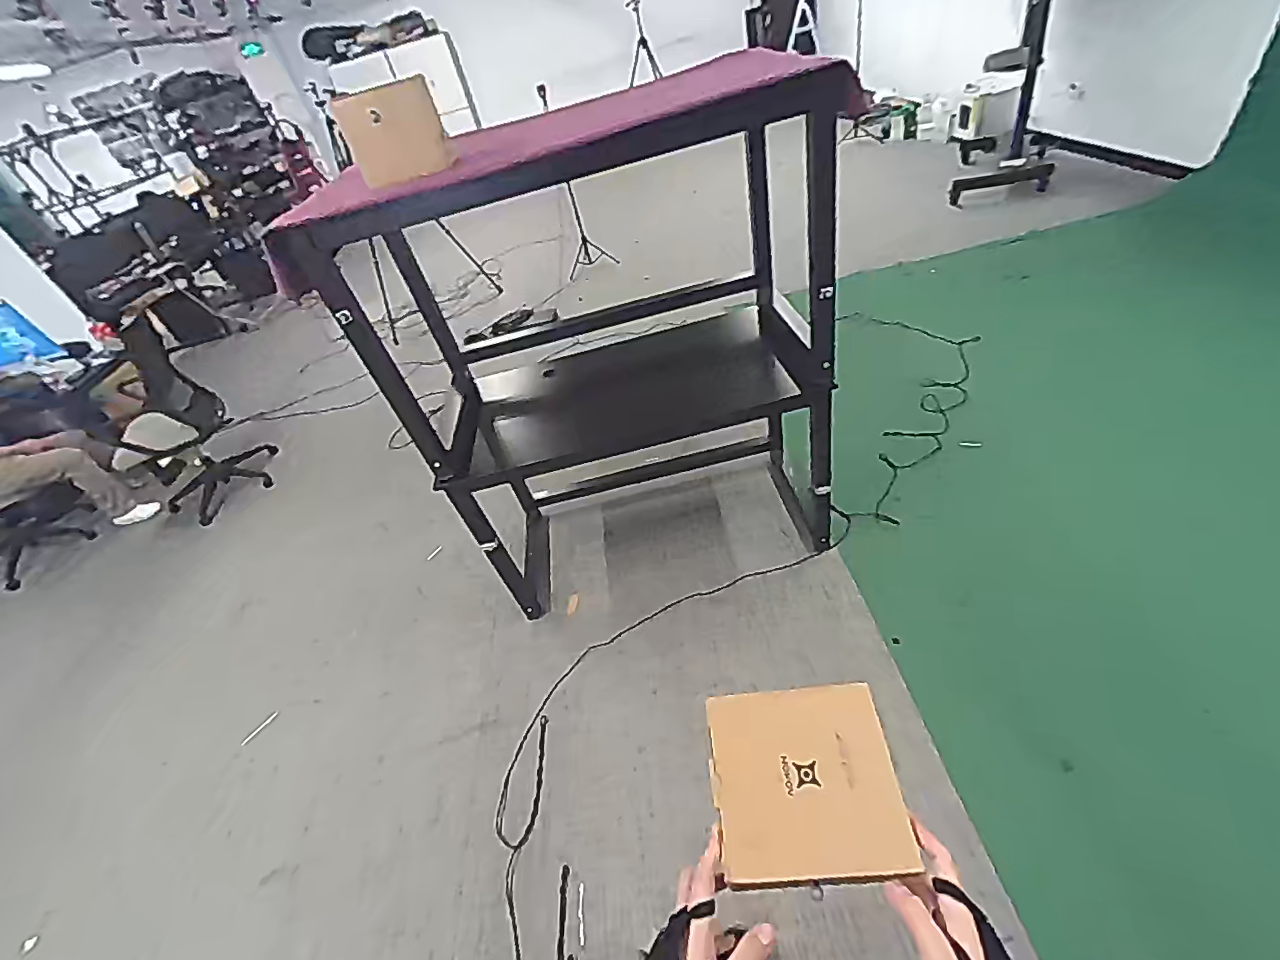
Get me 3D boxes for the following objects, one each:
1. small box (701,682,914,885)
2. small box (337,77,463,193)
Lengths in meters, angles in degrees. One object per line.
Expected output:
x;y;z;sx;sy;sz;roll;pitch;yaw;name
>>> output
0.169;0.337;0.593;0.179;0.176;0.168;-7;51;6;small box
-0.512;-0.749;1.178;0.179;0.176;0.168;-15;41;2;small box
